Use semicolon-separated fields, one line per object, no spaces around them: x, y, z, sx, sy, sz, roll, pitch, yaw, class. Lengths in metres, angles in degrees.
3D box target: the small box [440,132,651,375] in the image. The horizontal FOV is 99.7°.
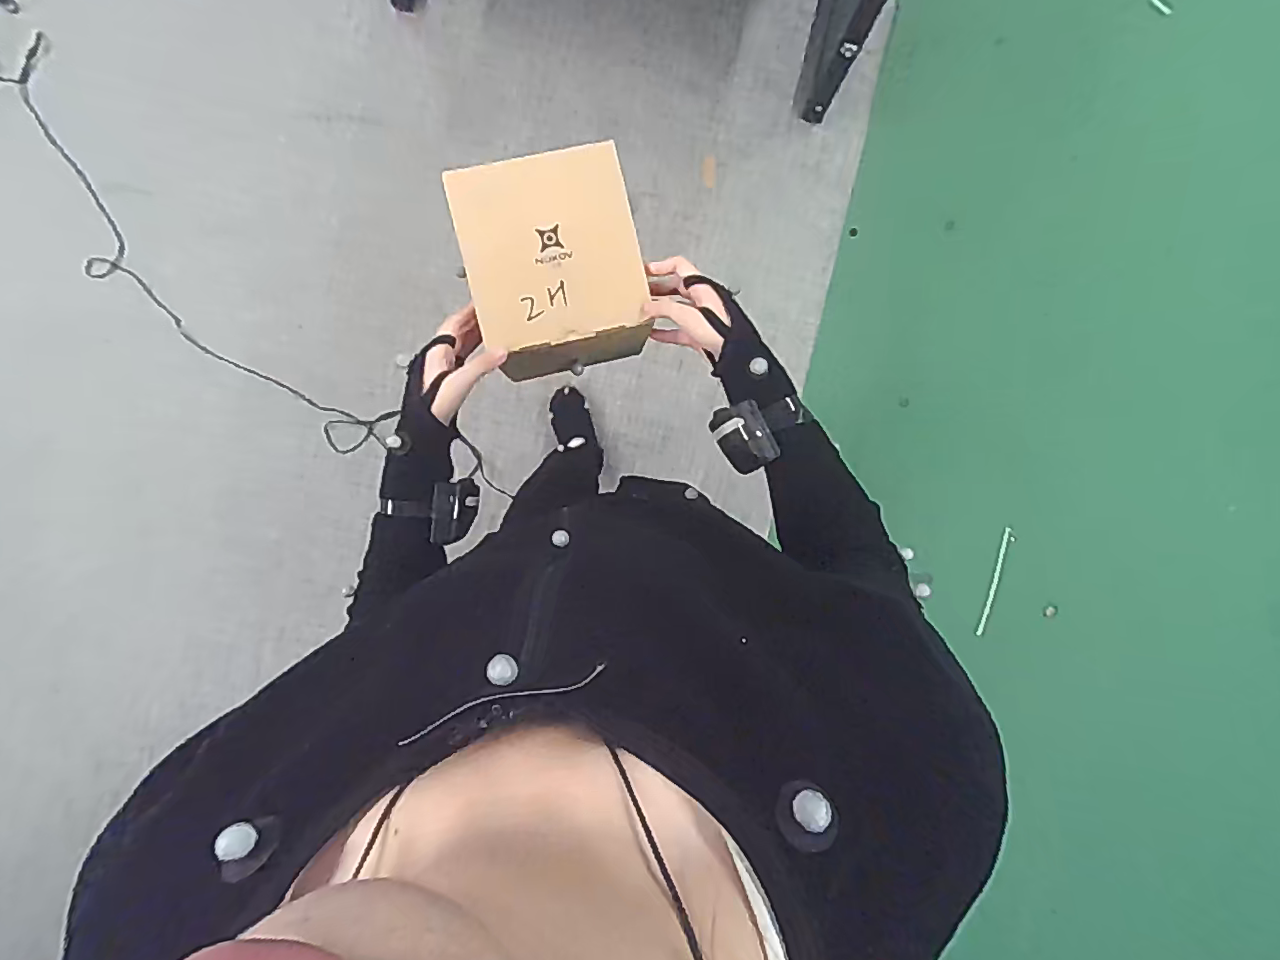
-0.094;-0.226;0.582;0.168;0.176;0.179;-14;93;-4;small box
